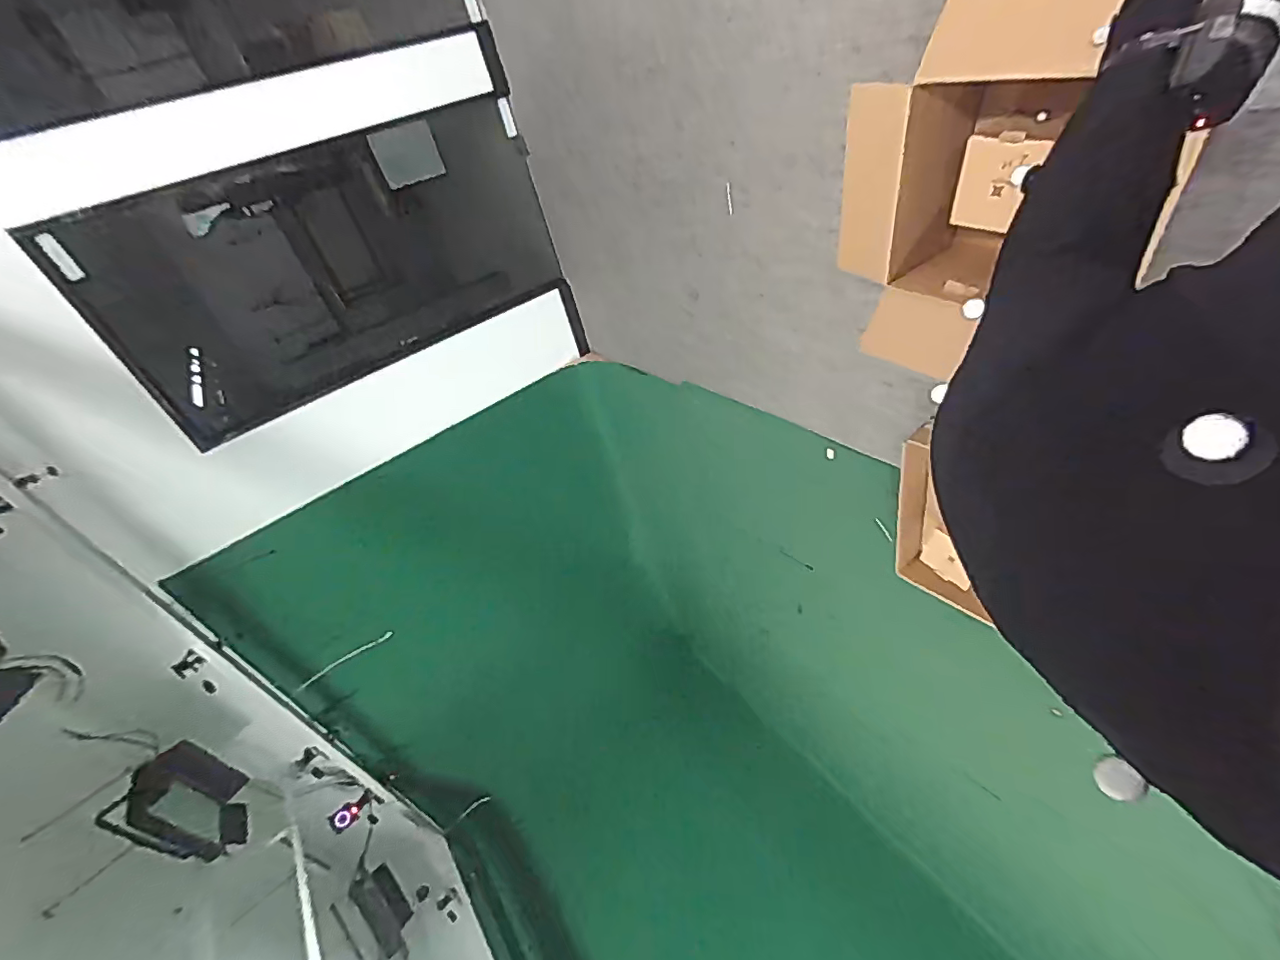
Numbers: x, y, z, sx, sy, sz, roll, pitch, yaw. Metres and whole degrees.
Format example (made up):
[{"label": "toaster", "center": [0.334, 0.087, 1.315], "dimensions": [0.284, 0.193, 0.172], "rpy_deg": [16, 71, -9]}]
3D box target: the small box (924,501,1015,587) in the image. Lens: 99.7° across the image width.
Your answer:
[{"label": "small box", "center": [1.055, 0.199, 1.730], "dimensions": [0.168, 0.176, 0.179], "rpy_deg": [41, 153, 35]}]
